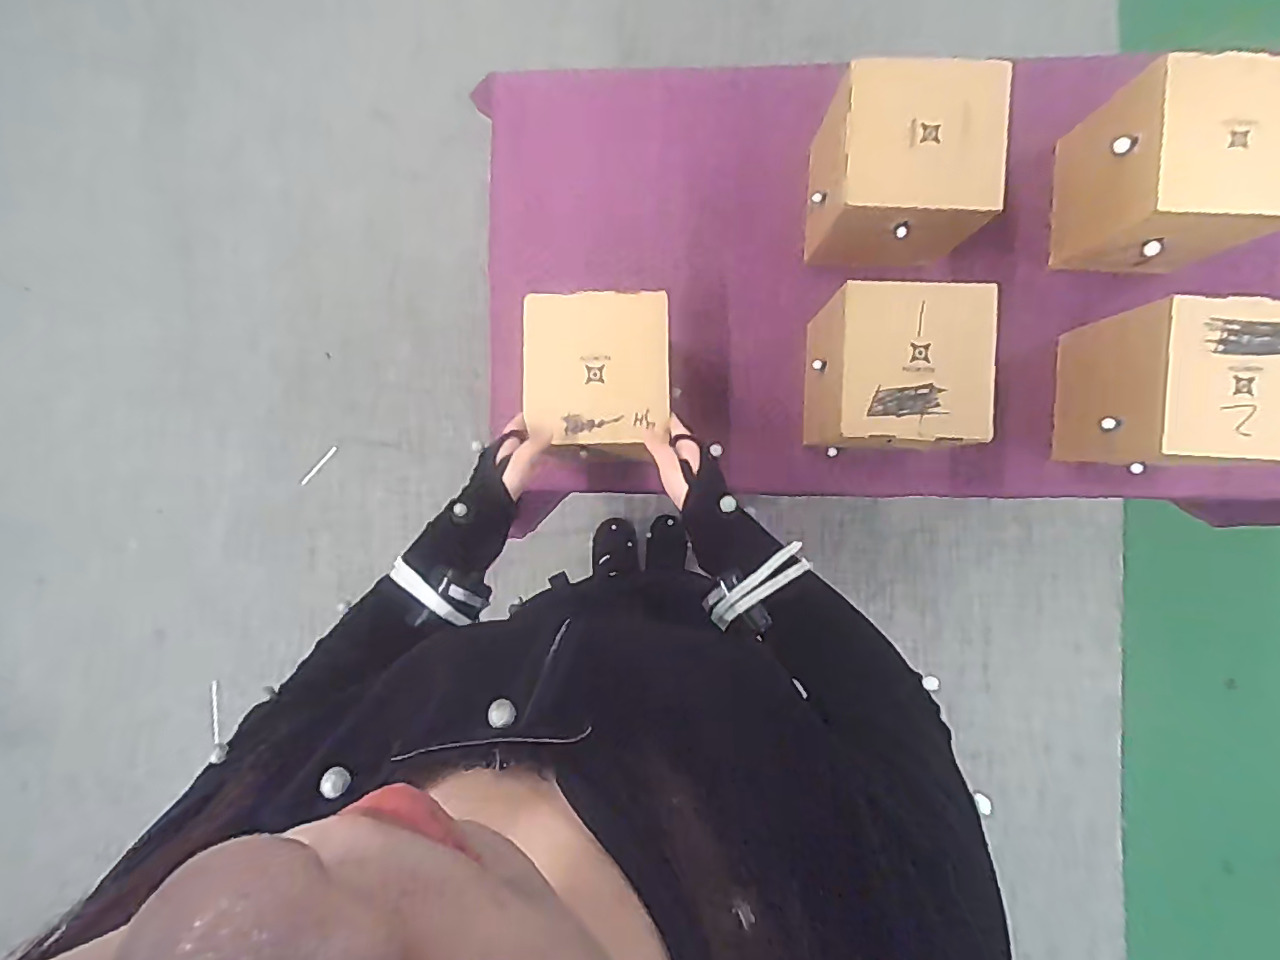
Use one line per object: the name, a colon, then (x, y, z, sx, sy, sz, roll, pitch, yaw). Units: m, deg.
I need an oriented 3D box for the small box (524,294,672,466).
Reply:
small box: (-0.043, -0.115, 0.685, 0.168, 0.176, 0.179, 0, 84, 3)

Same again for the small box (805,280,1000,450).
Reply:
small box: (0.310, -0.130, 0.673, 0.168, 0.176, 0.179, 3, 89, 3)

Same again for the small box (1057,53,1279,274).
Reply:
small box: (0.649, -0.367, 0.656, 0.168, 0.176, 0.179, 4, 90, 3)

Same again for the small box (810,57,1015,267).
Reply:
small box: (0.321, -0.379, 0.673, 0.179, 0.176, 0.168, 4, 91, 2)
